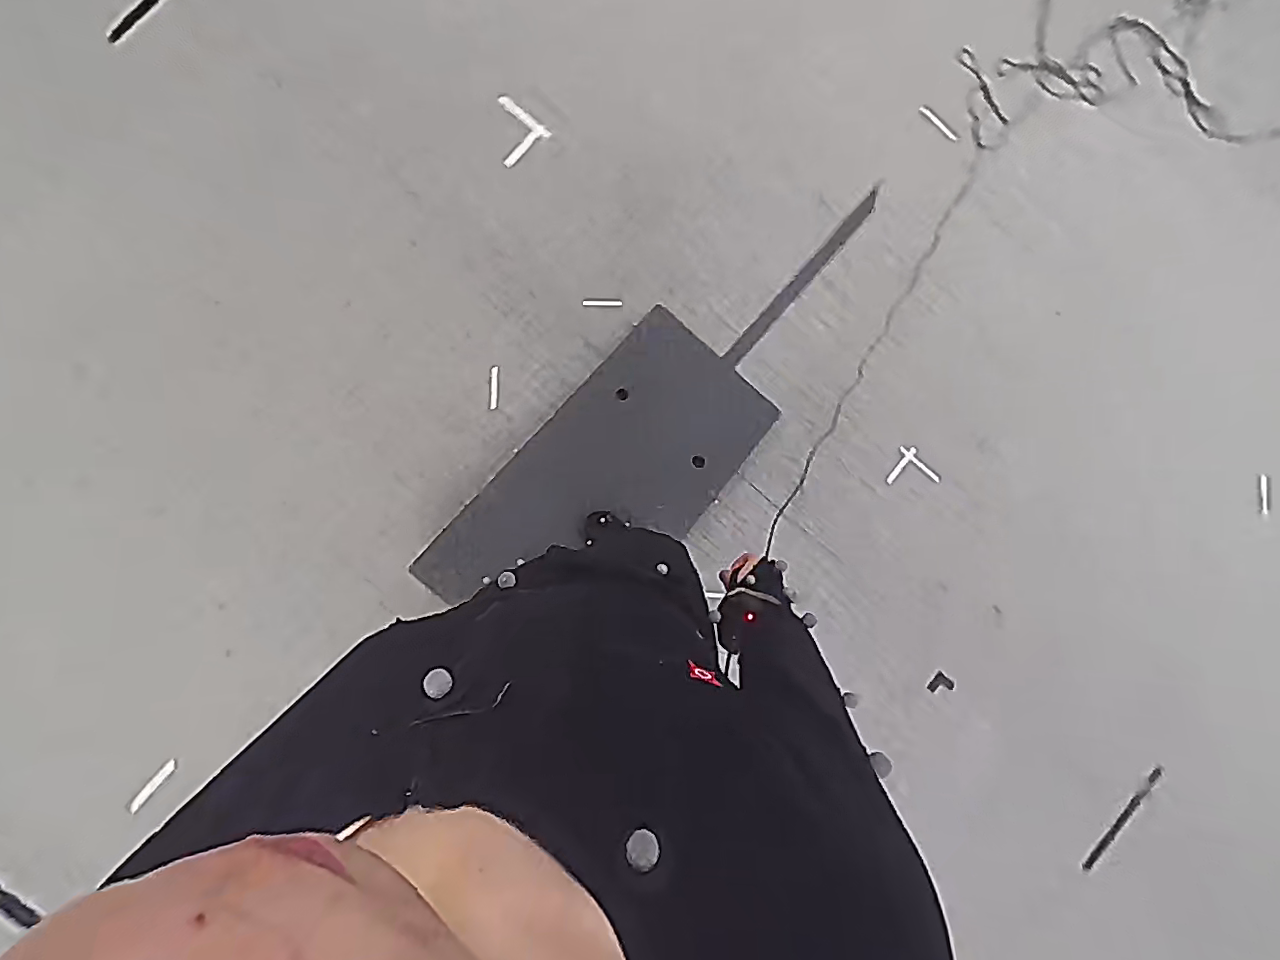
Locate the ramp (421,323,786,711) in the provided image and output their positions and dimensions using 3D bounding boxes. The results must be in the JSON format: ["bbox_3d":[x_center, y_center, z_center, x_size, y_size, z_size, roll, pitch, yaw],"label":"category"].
[{"bbox_3d":[-0.050,0.047,1.458,0.509,0.206,0.991,38,83,-1],"label":"ramp"}]
